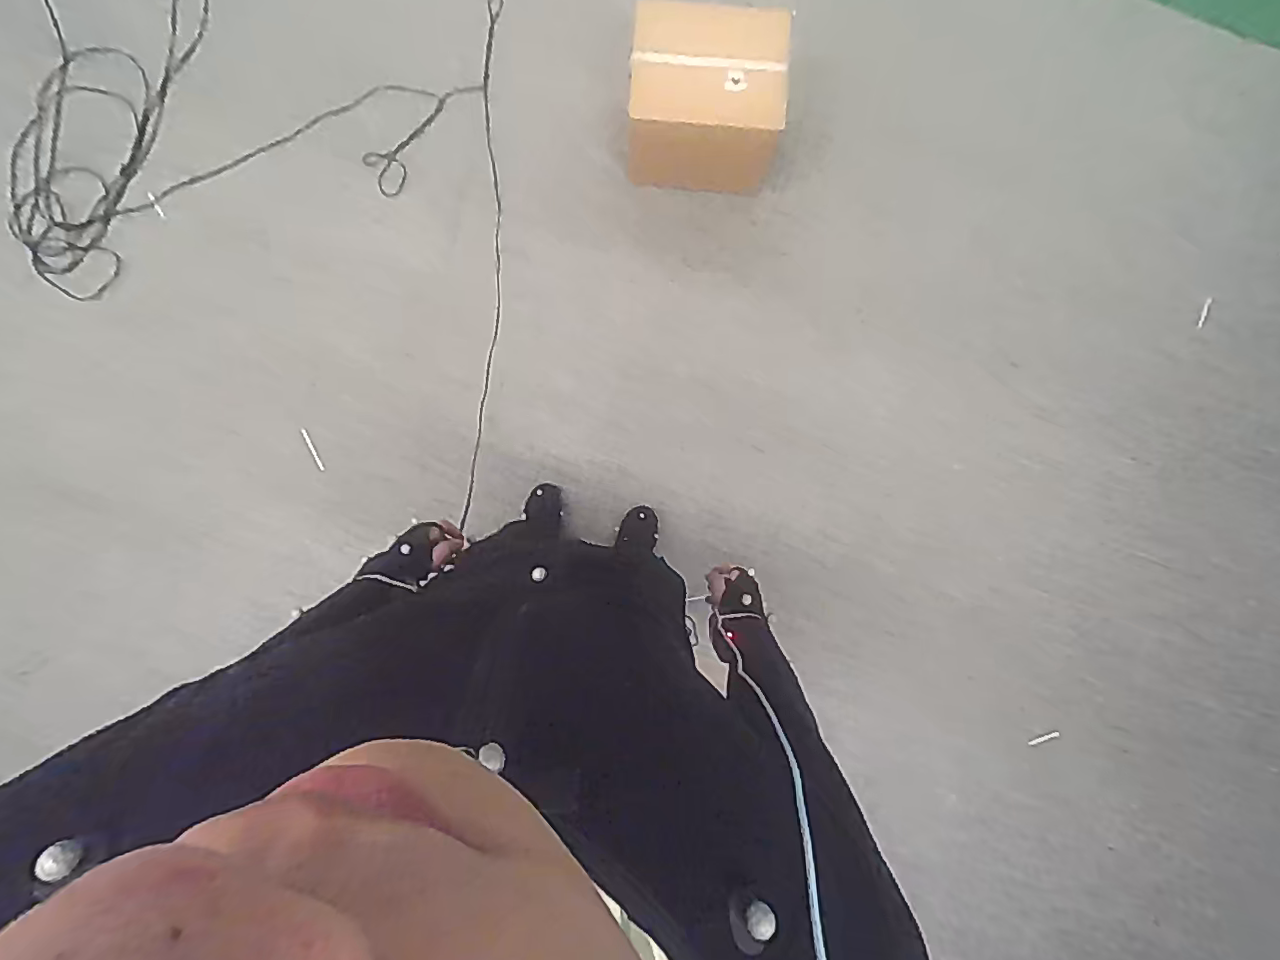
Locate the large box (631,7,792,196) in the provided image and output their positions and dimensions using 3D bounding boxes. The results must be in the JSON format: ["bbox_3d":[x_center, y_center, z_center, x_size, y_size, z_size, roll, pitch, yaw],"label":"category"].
[{"bbox_3d":[0.181,-1.049,1.536,0.408,0.320,0.320,4,89,-1],"label":"large box"}]
